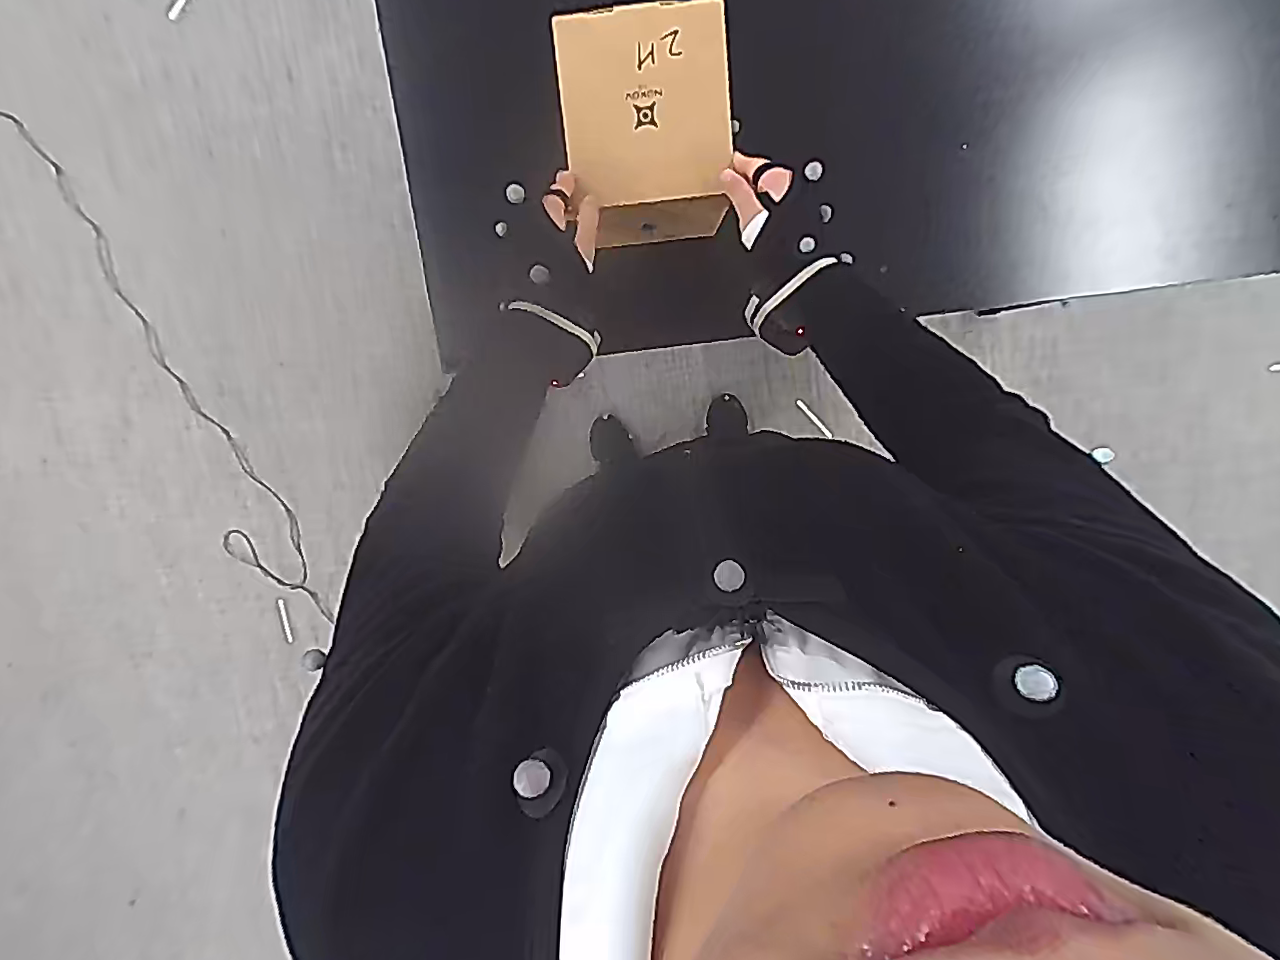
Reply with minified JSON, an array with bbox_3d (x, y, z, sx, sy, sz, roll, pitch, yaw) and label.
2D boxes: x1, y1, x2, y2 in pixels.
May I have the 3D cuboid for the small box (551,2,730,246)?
[{"bbox_3d":[0.005,-0.375,0.608,0.168,0.176,0.179,-6,100,2],"label":"small box"}]
